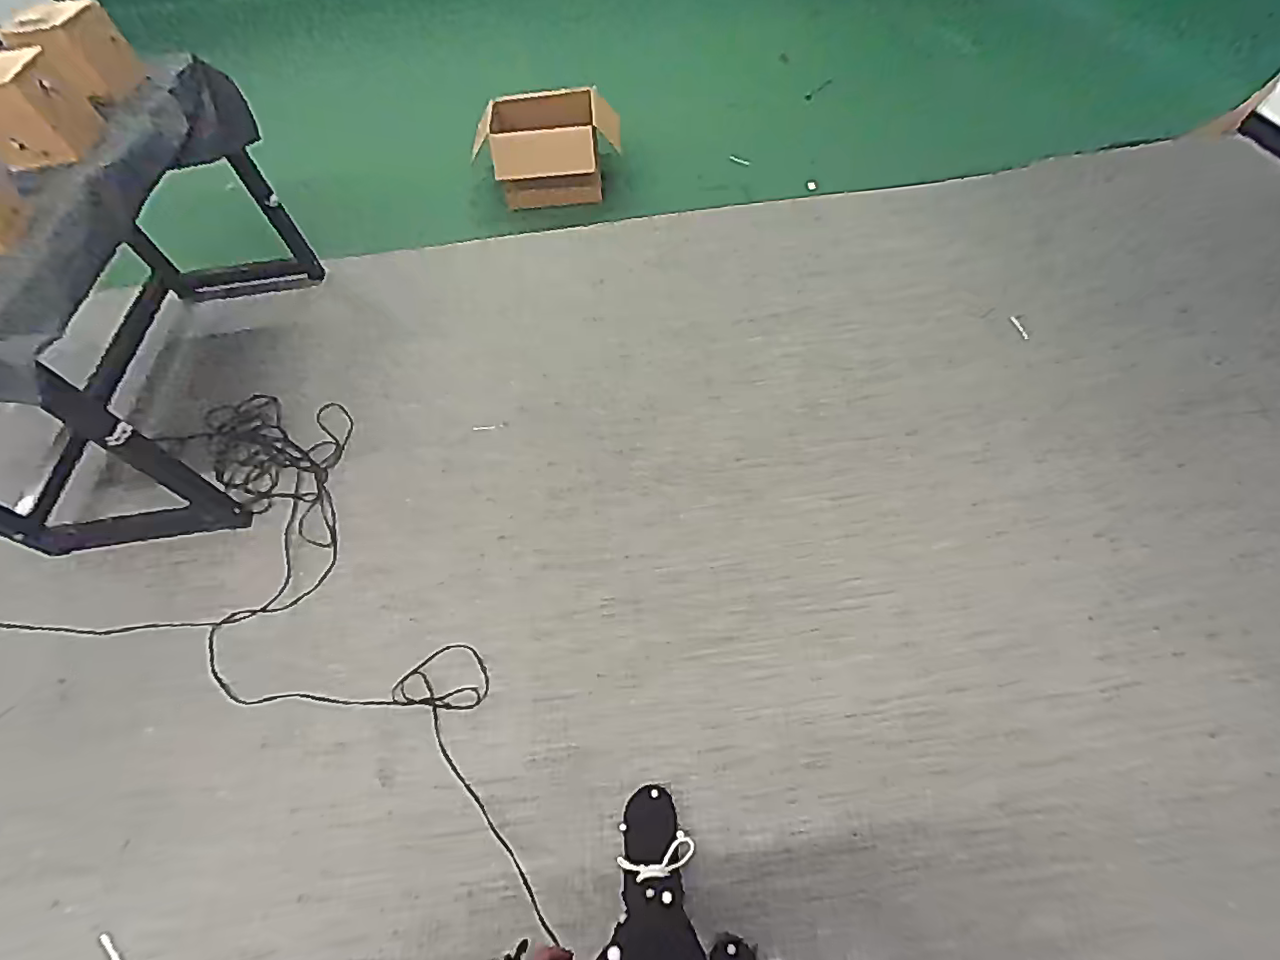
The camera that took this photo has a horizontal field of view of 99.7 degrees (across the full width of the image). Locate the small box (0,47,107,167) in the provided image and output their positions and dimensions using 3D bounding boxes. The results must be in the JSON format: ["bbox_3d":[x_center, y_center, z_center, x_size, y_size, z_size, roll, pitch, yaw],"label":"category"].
[{"bbox_3d":[-1.401,-0.857,1.246,0.168,0.176,0.179,-10,59,-2],"label":"small box"}]

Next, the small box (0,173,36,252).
[{"bbox_3d":[-1.356,-0.543,1.046,0.179,0.176,0.168,-17,57,-5],"label":"small box"}]
